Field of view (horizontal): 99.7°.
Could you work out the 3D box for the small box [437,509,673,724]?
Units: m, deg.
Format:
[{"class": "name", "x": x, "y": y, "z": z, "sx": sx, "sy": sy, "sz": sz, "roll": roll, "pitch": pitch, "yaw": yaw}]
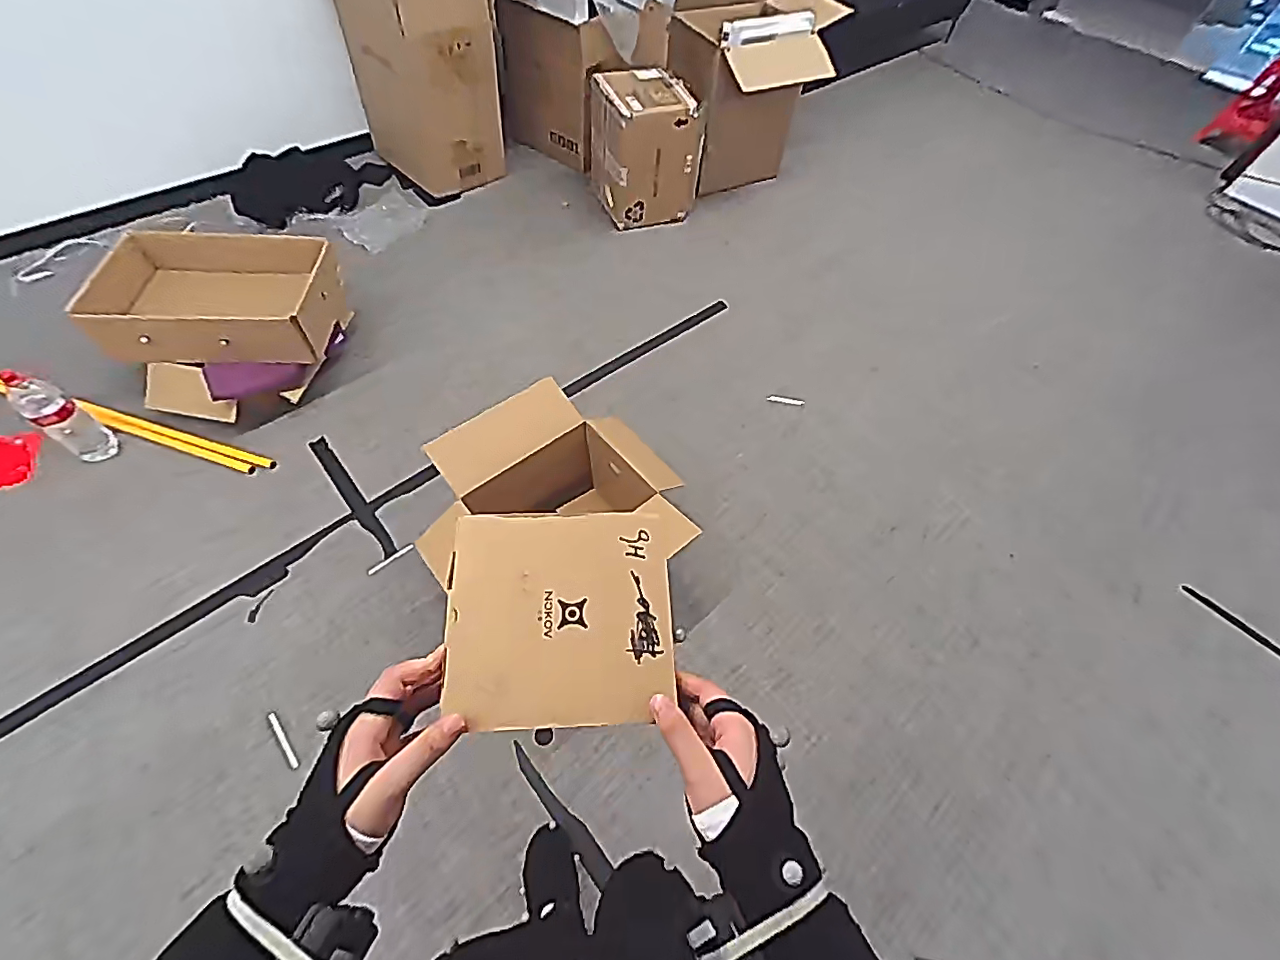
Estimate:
[{"class": "small box", "x": -0.070, "y": 0.133, "z": 0.500, "sx": 0.179, "sy": 0.176, "sz": 0.168, "roll": -1, "pitch": 67, "yaw": -6}]
